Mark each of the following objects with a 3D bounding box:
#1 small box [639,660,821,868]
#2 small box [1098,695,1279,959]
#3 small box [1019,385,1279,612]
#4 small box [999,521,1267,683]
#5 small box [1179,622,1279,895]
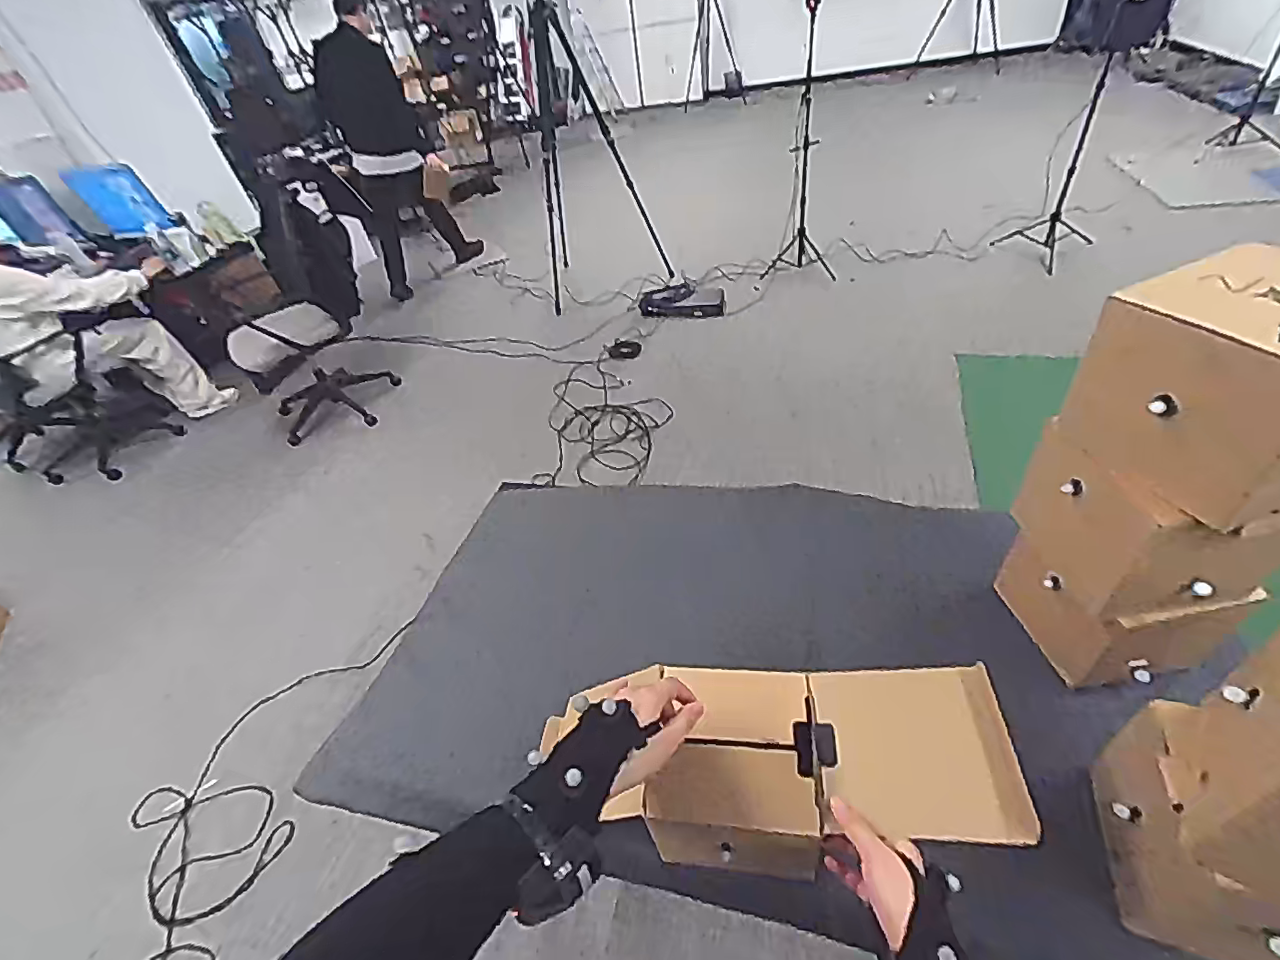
[{"bbox_3d":[0.108,0.330,0.630,0.179,0.176,0.168,-2,43,13],"label":"small box"},{"bbox_3d":[0.575,0.340,0.512,0.179,0.176,0.168,8,43,21],"label":"small box"},{"bbox_3d":[0.573,0.022,0.610,0.168,0.176,0.179,-11,43,6],"label":"small box"},{"bbox_3d":[0.621,0.139,0.717,0.168,0.176,0.179,-13,44,3],"label":"small box"},{"bbox_3d":[0.551,0.228,0.394,0.179,0.176,0.168,27,52,35],"label":"small box"}]
